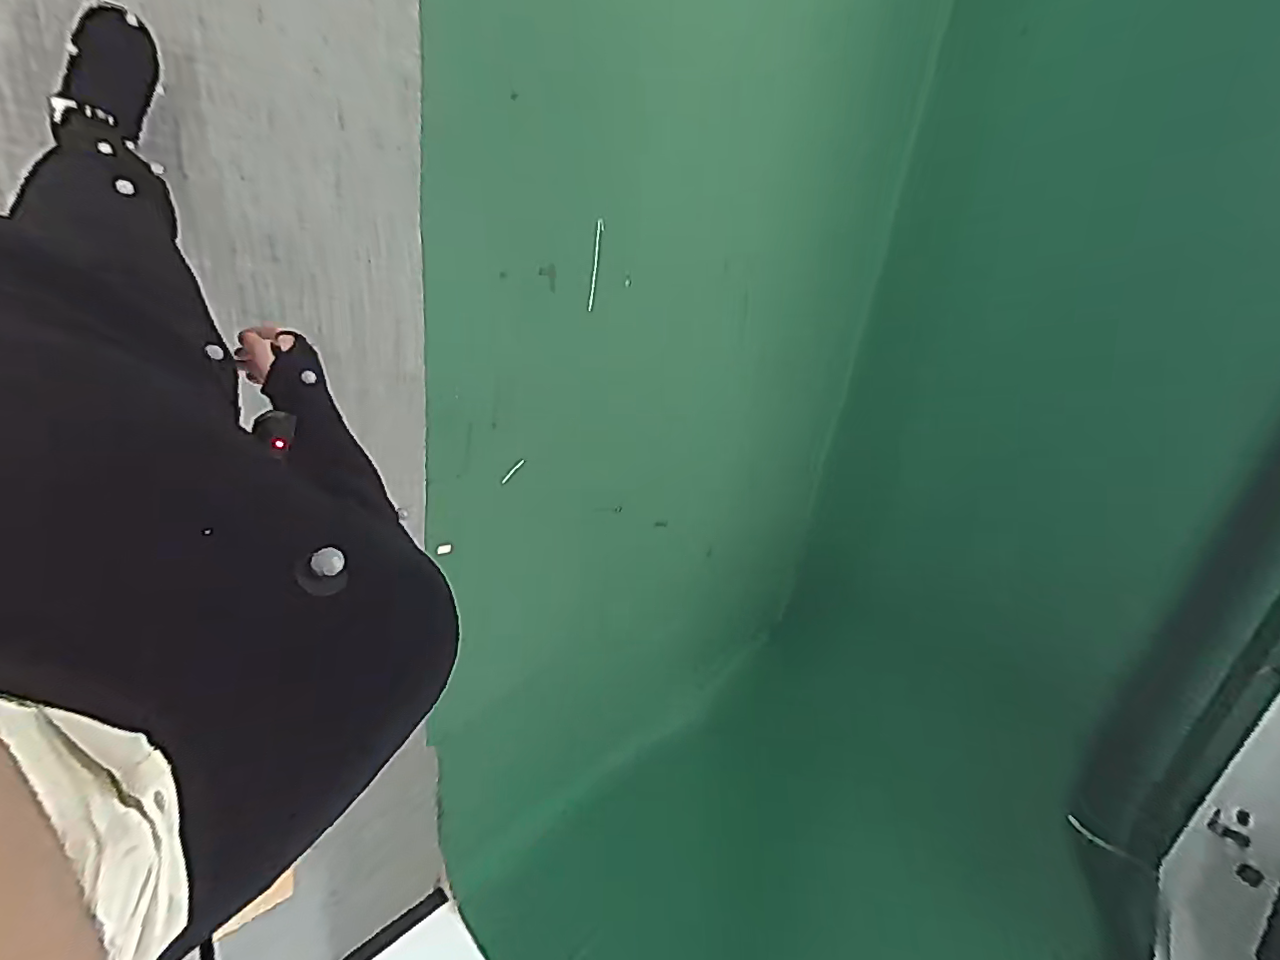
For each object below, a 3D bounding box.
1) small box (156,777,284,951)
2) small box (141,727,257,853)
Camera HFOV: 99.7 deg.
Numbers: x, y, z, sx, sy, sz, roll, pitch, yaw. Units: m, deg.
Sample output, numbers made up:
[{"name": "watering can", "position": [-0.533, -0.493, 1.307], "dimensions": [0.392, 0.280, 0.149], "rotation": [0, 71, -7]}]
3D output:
[{"name": "small box", "position": [-0.808, 0.725, 1.043], "dimensions": [0.168, 0.176, 0.179], "rotation": [-9, 117, -48]}, {"name": "small box", "position": [-0.926, 0.668, 1.143], "dimensions": [0.168, 0.176, 0.179], "rotation": [-12, 119, -46]}]
